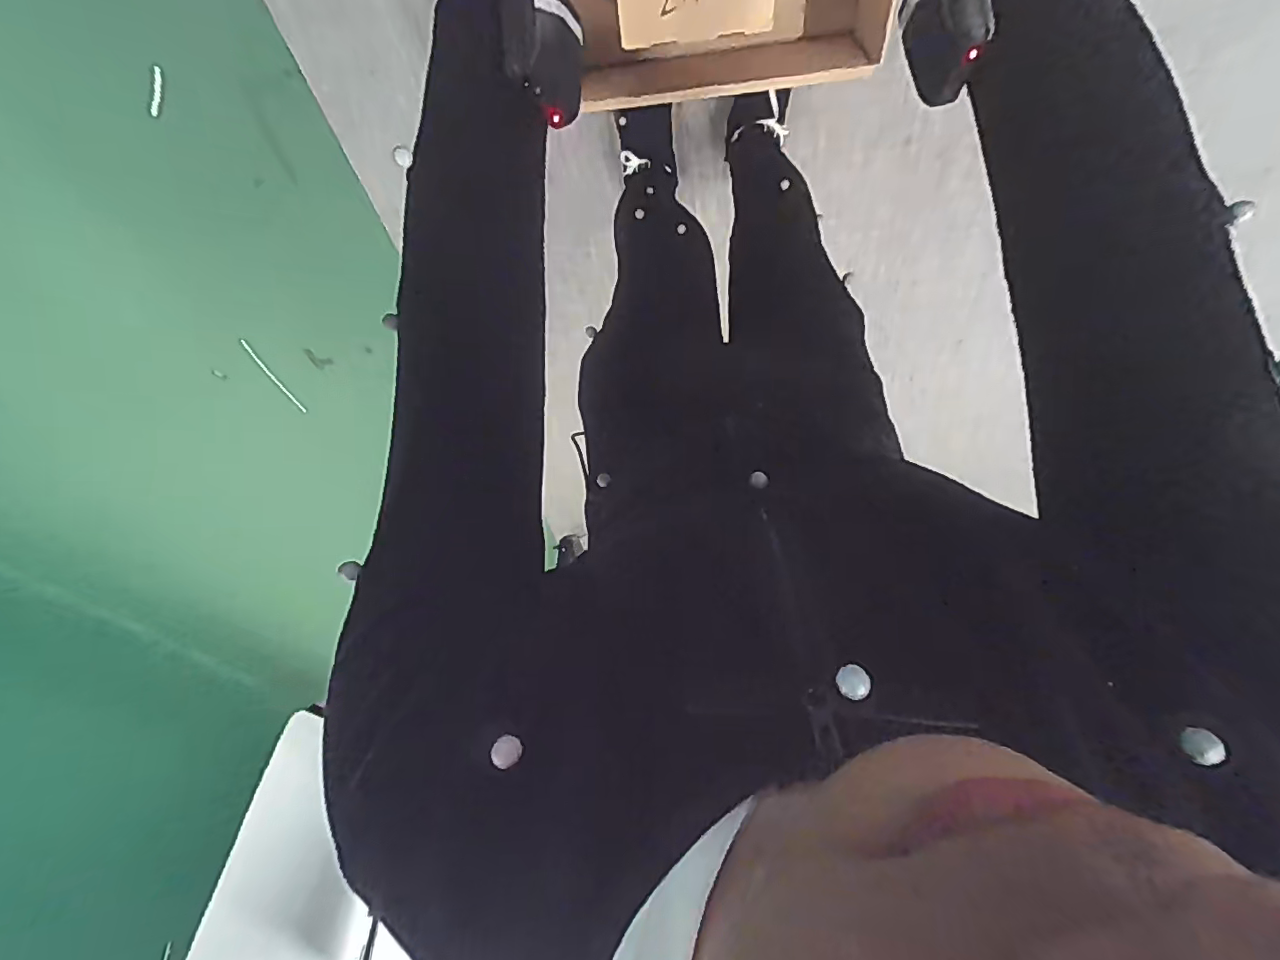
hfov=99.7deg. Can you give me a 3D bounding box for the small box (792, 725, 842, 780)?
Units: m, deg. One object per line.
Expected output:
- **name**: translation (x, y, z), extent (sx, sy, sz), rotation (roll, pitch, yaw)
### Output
- **small box**: translation (0.693, 1.074, 2.133), extent (0.168, 0.176, 0.179), rotation (-5, 141, 12)

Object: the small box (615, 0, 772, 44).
- **small box**: translation (0.053, -0.596, 0.569), extent (0.168, 0.176, 0.179), rotation (-2, 141, 7)
